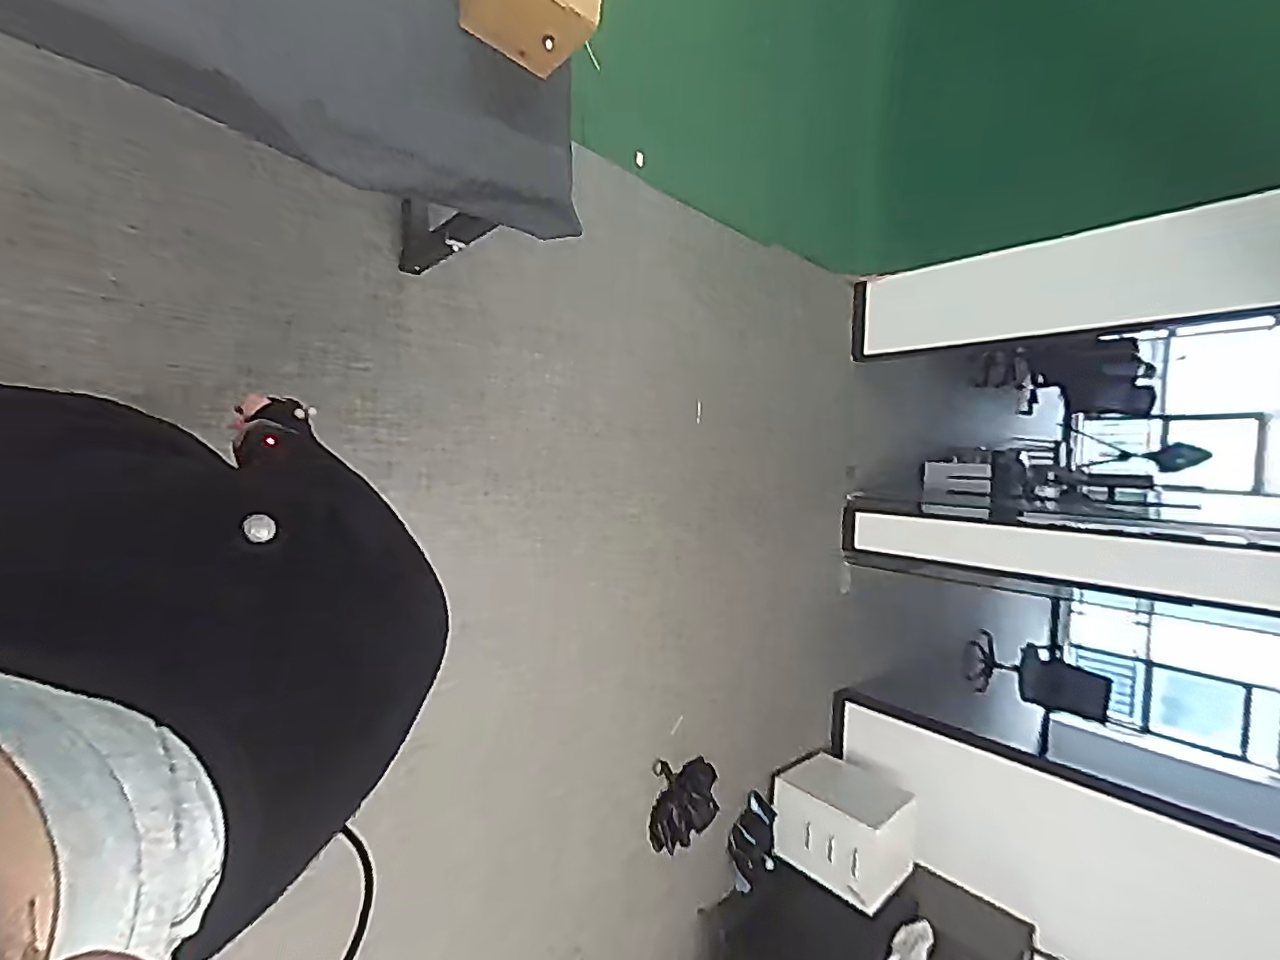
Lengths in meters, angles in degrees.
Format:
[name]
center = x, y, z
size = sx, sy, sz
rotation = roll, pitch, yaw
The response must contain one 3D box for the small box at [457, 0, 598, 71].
[small box]
center = -0.180, -0.815, 0.866
size = 0.168, 0.176, 0.179
rotation = 2, 90, -44
